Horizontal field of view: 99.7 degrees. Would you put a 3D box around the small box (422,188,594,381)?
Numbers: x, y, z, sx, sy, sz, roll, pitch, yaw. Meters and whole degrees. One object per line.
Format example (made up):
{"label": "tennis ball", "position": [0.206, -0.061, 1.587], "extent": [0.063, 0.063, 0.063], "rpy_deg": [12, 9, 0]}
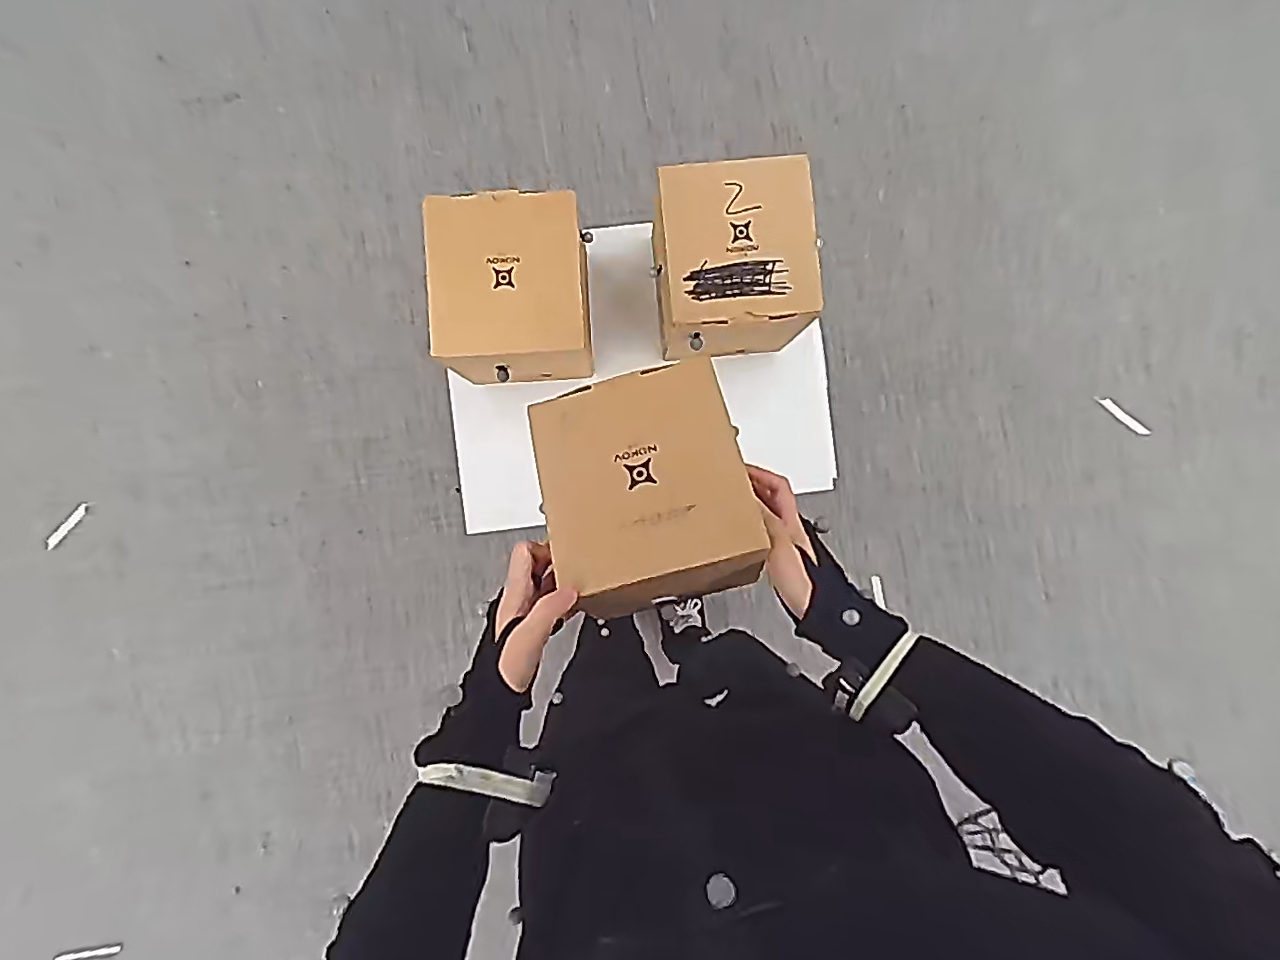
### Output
{"label": "small box", "position": [-0.146, -0.220, 0.652], "extent": [0.168, 0.176, 0.179], "rpy_deg": [-4, 89, -2]}

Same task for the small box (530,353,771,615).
{"label": "small box", "position": [0.011, 0.016, 0.505], "extent": [0.168, 0.176, 0.179], "rpy_deg": [-15, 70, 3]}
